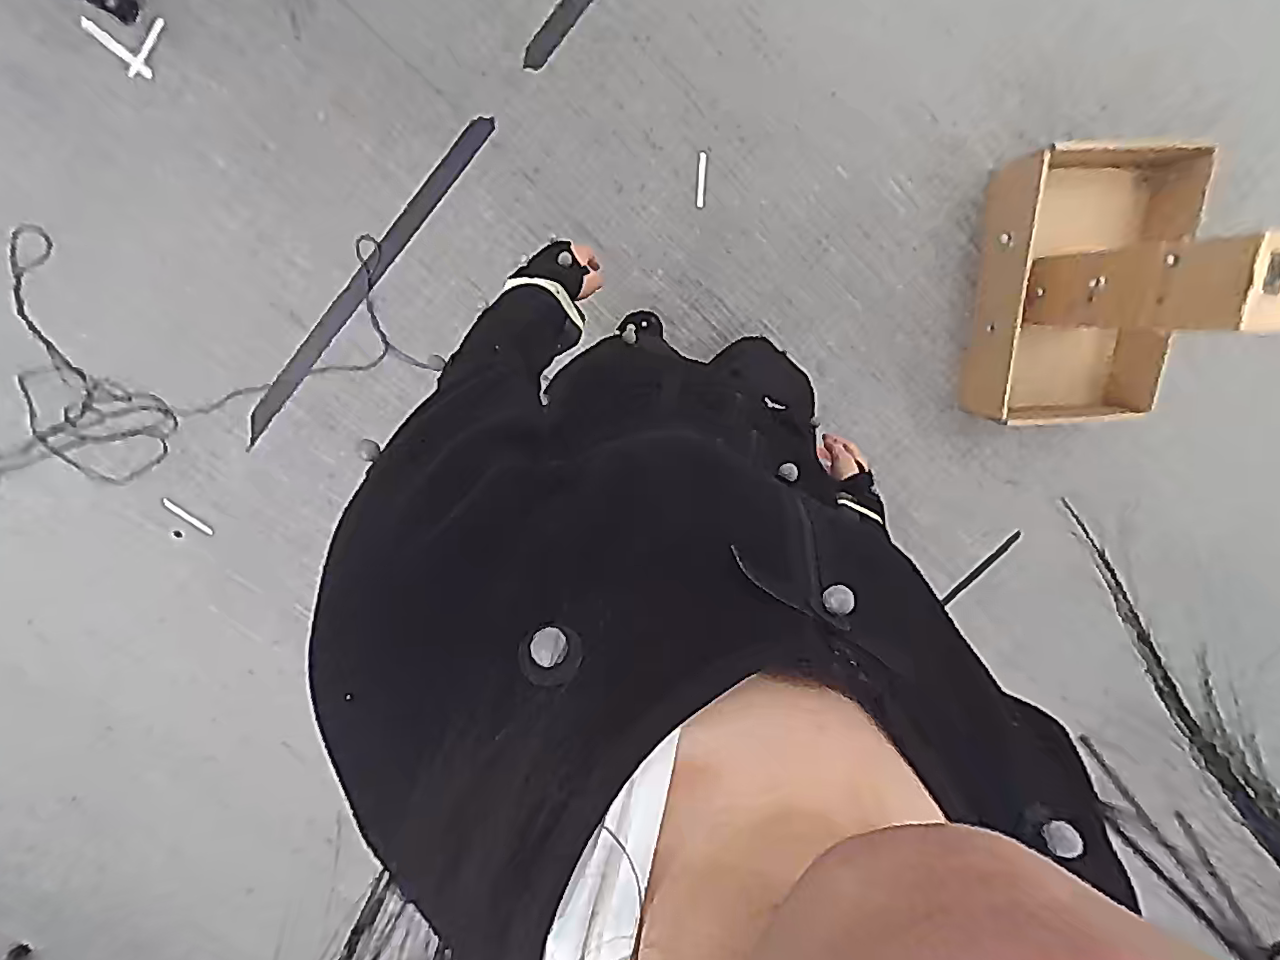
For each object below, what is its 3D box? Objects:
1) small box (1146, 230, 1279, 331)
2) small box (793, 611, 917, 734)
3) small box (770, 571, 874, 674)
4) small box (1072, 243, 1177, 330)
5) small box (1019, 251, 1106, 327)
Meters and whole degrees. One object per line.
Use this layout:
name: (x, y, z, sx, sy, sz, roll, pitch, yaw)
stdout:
small box: (1.109, -0.362, 1.003, 0.179, 0.176, 0.168, -2, 107, -5)
small box: (0.420, 0.380, 1.087, 0.168, 0.176, 0.179, 2, 107, -4)
small box: (0.407, 0.322, 1.240, 0.168, 0.176, 0.179, 2, 108, -4)
small box: (1.092, -0.409, 1.160, 0.179, 0.176, 0.168, -1, 107, -3)
small box: (1.079, -0.458, 1.314, 0.179, 0.176, 0.168, 0, 107, -4)
